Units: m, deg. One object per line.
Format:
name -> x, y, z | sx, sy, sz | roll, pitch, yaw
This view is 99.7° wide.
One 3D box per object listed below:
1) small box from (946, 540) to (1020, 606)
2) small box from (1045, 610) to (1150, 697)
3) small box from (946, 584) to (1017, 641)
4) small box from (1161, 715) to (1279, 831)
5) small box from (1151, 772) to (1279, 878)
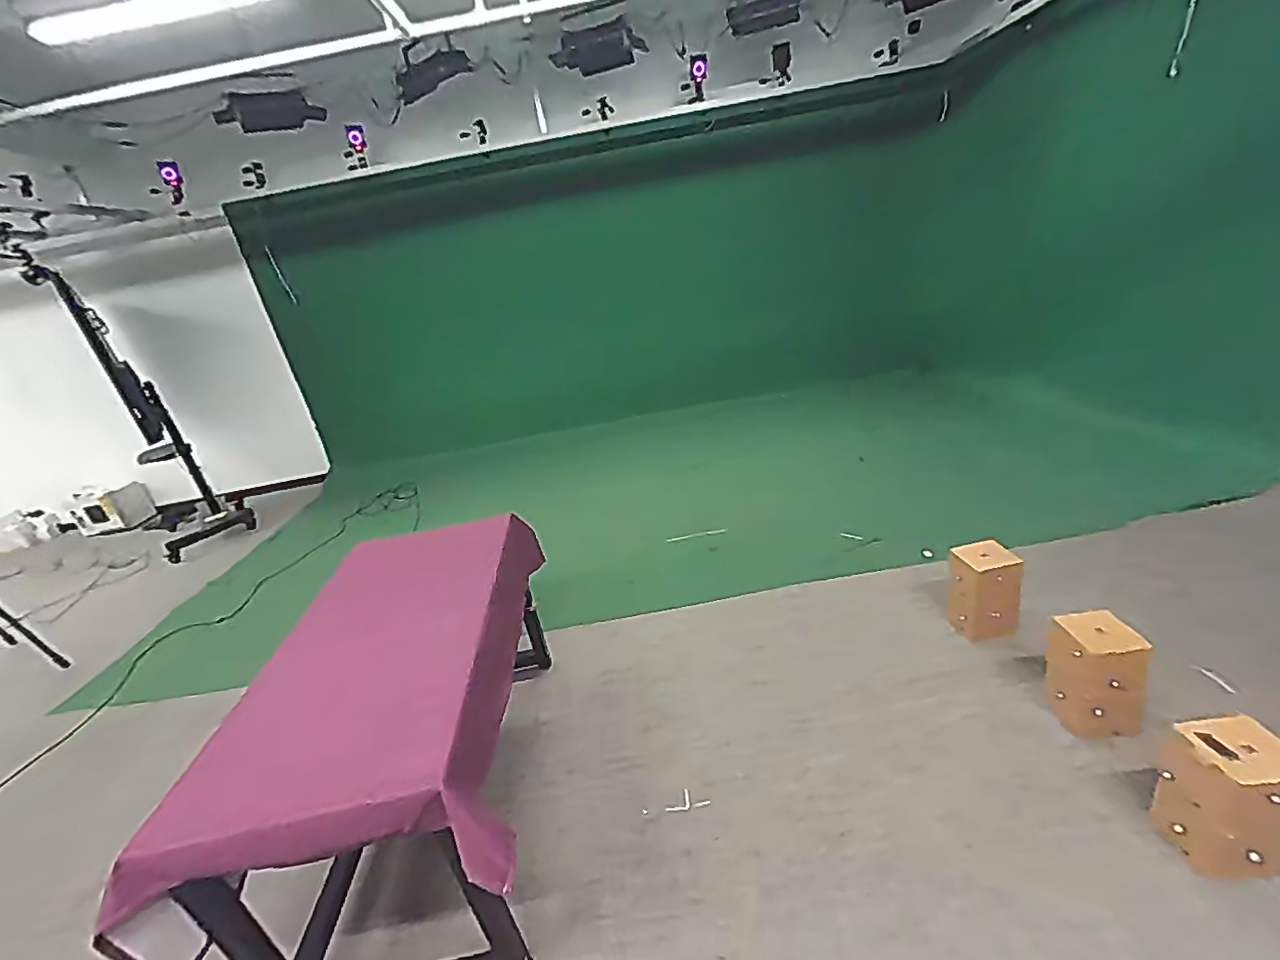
small box -> 1.284, 0.353, 2.033 | 0.179, 0.176, 0.168 | -11, 24, -1
small box -> 1.353, 0.517, 1.616 | 0.168, 0.176, 0.179 | -9, 23, 4
small box -> 1.316, 0.502, 2.095 | 0.179, 0.176, 0.168 | -11, 23, 0
small box -> 1.357, 0.674, 1.242 | 0.179, 0.176, 0.168 | -8, 23, 4
small box -> 1.390, 0.823, 1.304 | 0.179, 0.176, 0.168 | -10, 23, 3
